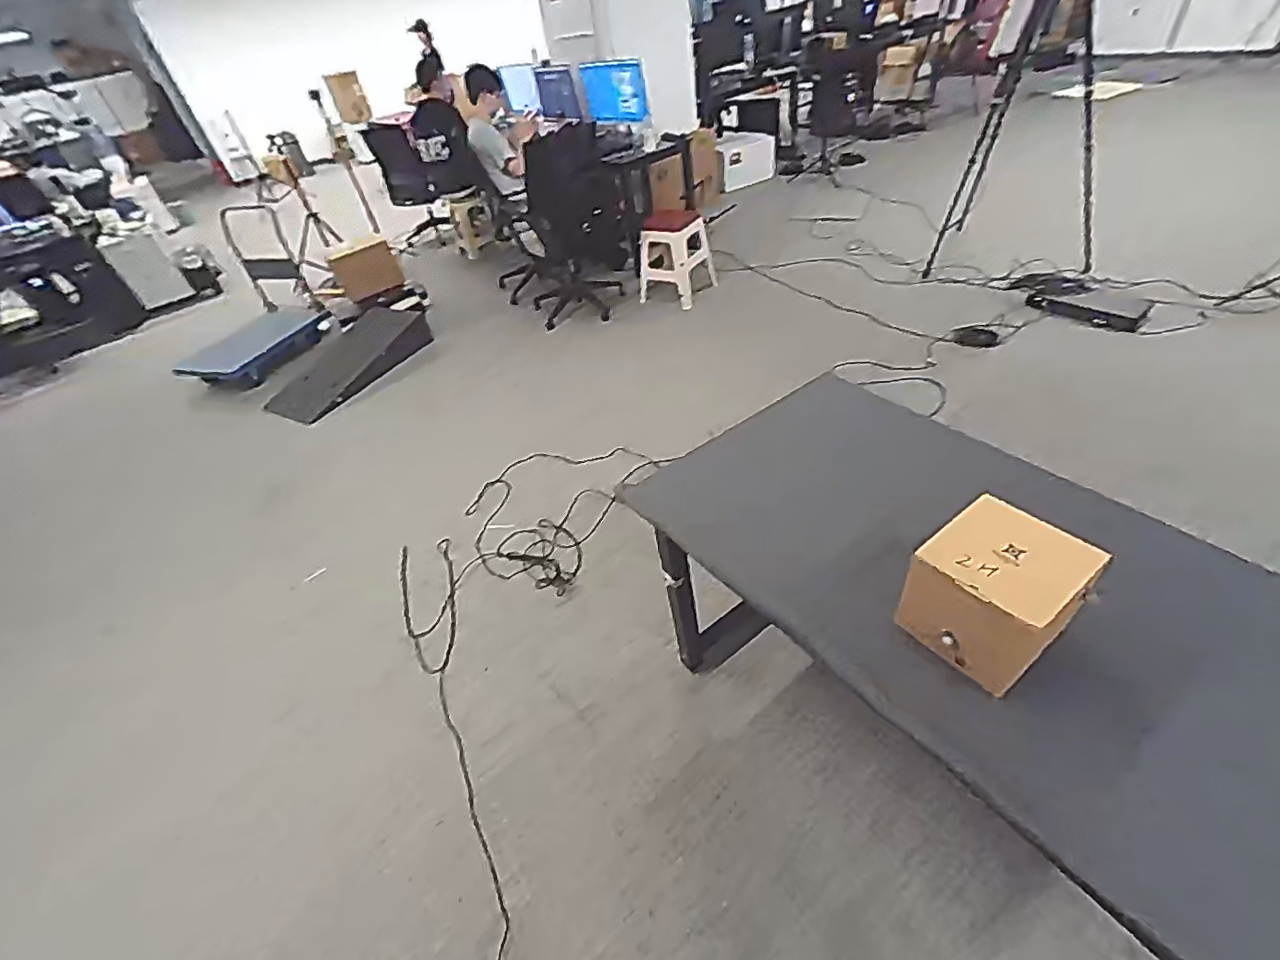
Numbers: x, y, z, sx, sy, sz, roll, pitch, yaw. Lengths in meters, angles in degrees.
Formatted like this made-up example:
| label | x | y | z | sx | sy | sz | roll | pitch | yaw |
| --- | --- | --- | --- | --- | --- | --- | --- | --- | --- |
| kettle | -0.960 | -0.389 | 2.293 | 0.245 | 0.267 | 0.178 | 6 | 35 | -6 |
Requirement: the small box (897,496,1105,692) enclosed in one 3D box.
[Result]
| label | x | y | z | sx | sy | sz | roll | pitch | yaw |
| --- | --- | --- | --- | --- | --- | --- | --- | --- | --- |
| small box | 0.497 | 0.160 | 0.772 | 0.179 | 0.176 | 0.168 | -30 | 45 | -21 |
